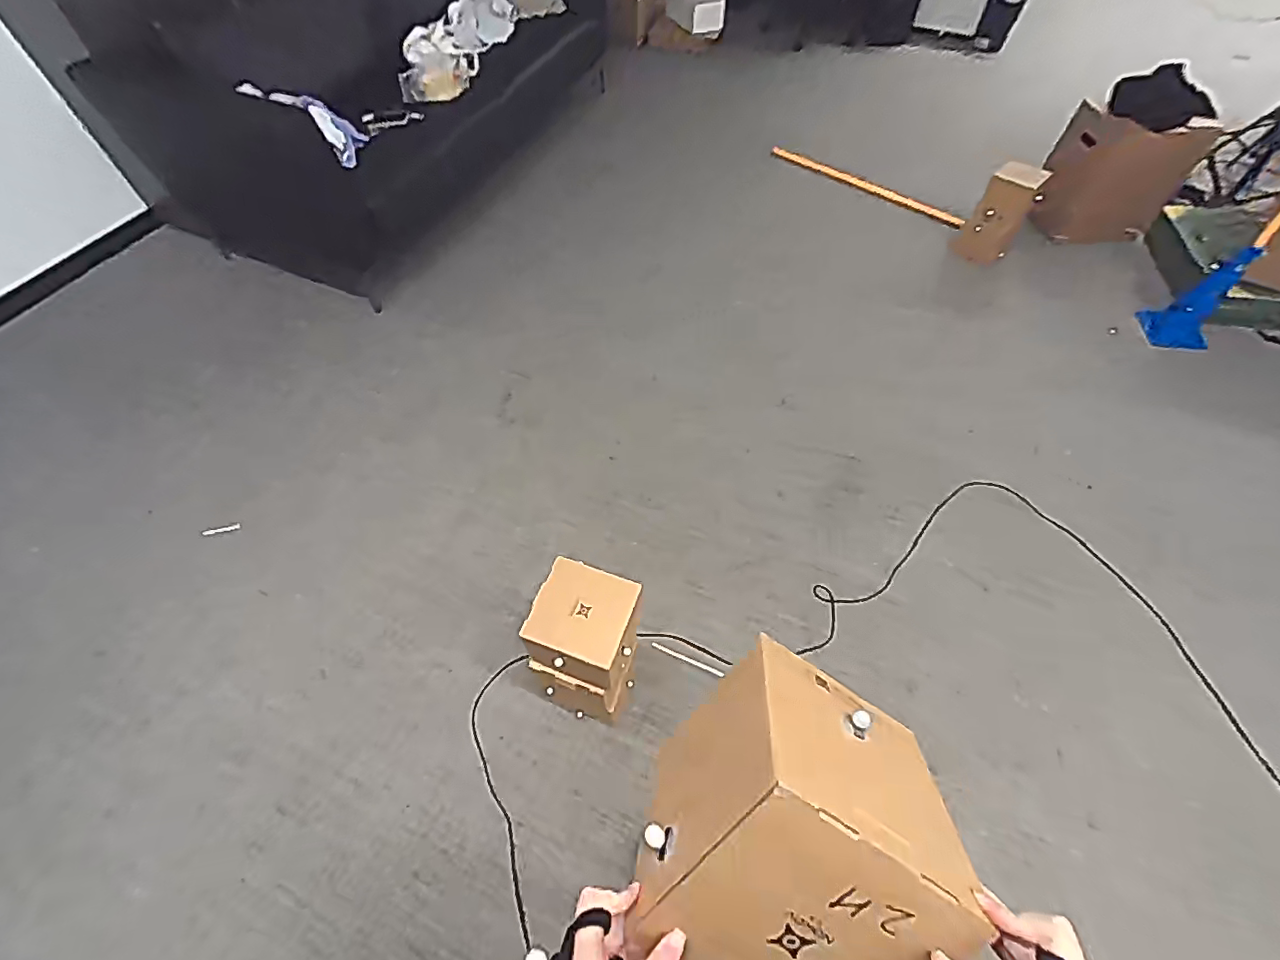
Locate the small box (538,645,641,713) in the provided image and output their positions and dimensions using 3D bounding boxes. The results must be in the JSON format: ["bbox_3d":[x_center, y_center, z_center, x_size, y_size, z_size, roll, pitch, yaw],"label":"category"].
[{"bbox_3d":[-0.099,0.385,1.179,0.168,0.176,0.179,16,58,12],"label":"small box"}]

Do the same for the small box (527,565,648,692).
[{"bbox_3d":[-0.090,0.293,1.043,0.179,0.176,0.168,16,58,13],"label":"small box"}]
